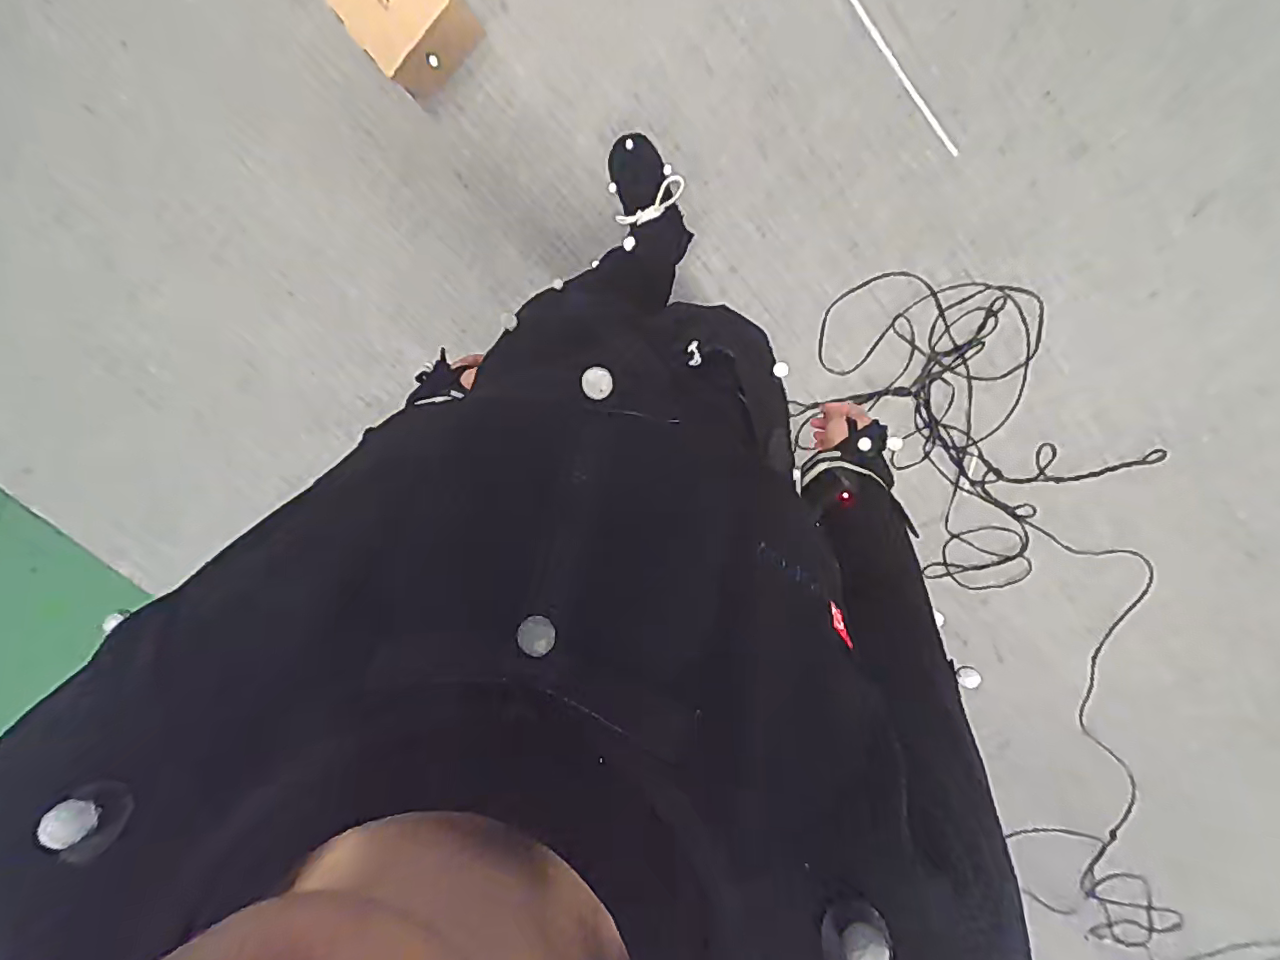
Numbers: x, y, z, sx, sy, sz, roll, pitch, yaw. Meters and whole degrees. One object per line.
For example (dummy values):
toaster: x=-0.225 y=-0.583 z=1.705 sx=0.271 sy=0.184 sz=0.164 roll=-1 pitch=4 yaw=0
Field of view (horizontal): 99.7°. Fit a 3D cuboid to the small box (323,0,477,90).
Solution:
small box: x=-0.431 y=-0.860 z=0.985 sx=0.179 sy=0.176 sz=0.168 roll=-35 pitch=107 yaw=21
